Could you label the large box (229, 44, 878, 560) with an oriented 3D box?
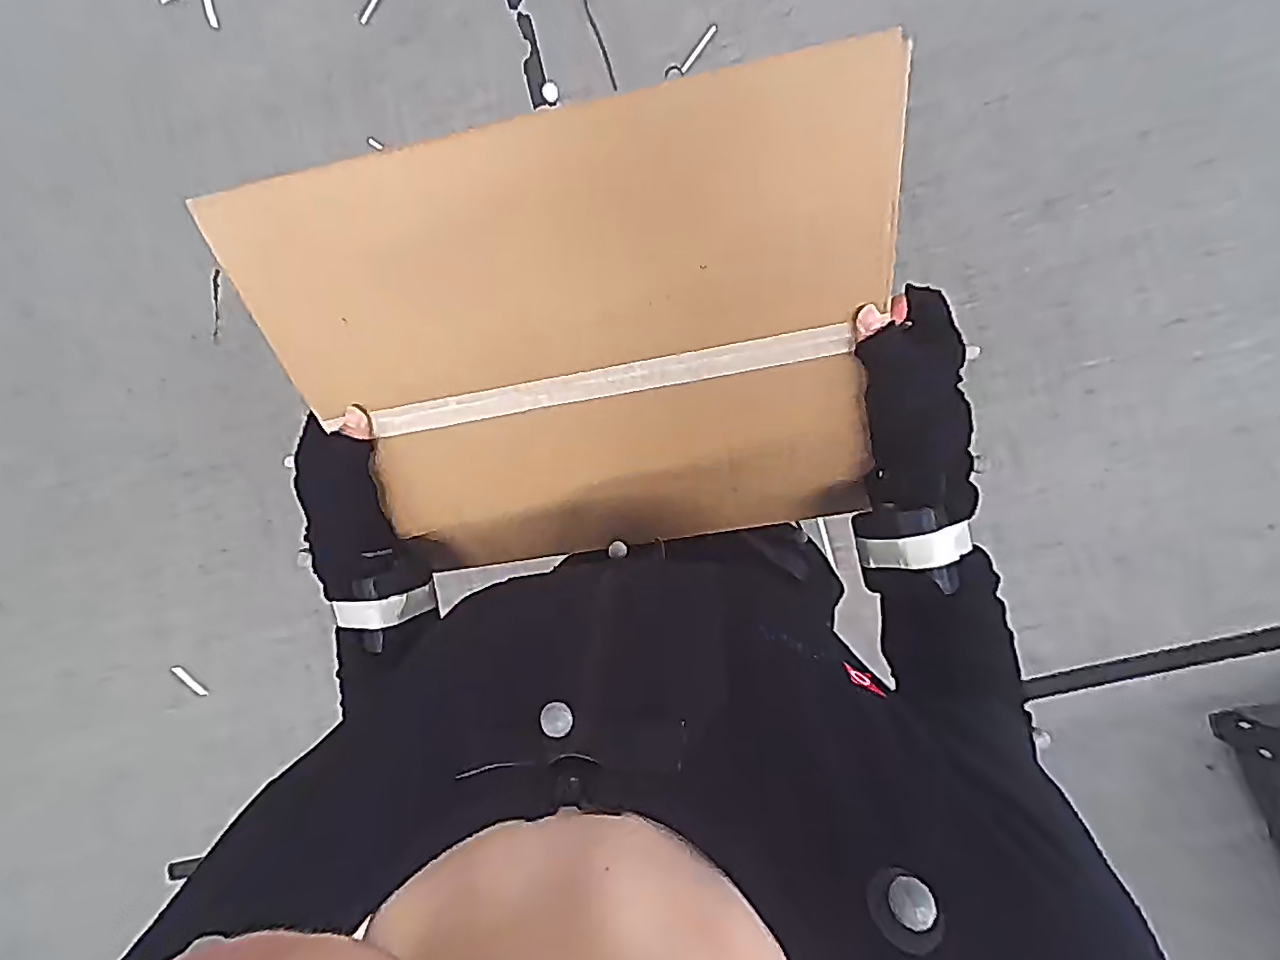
[{"bbox_3d":[-0.033,-0.166,0.516,0.408,0.320,0.320,-9,125,7],"label":"large box"}]
